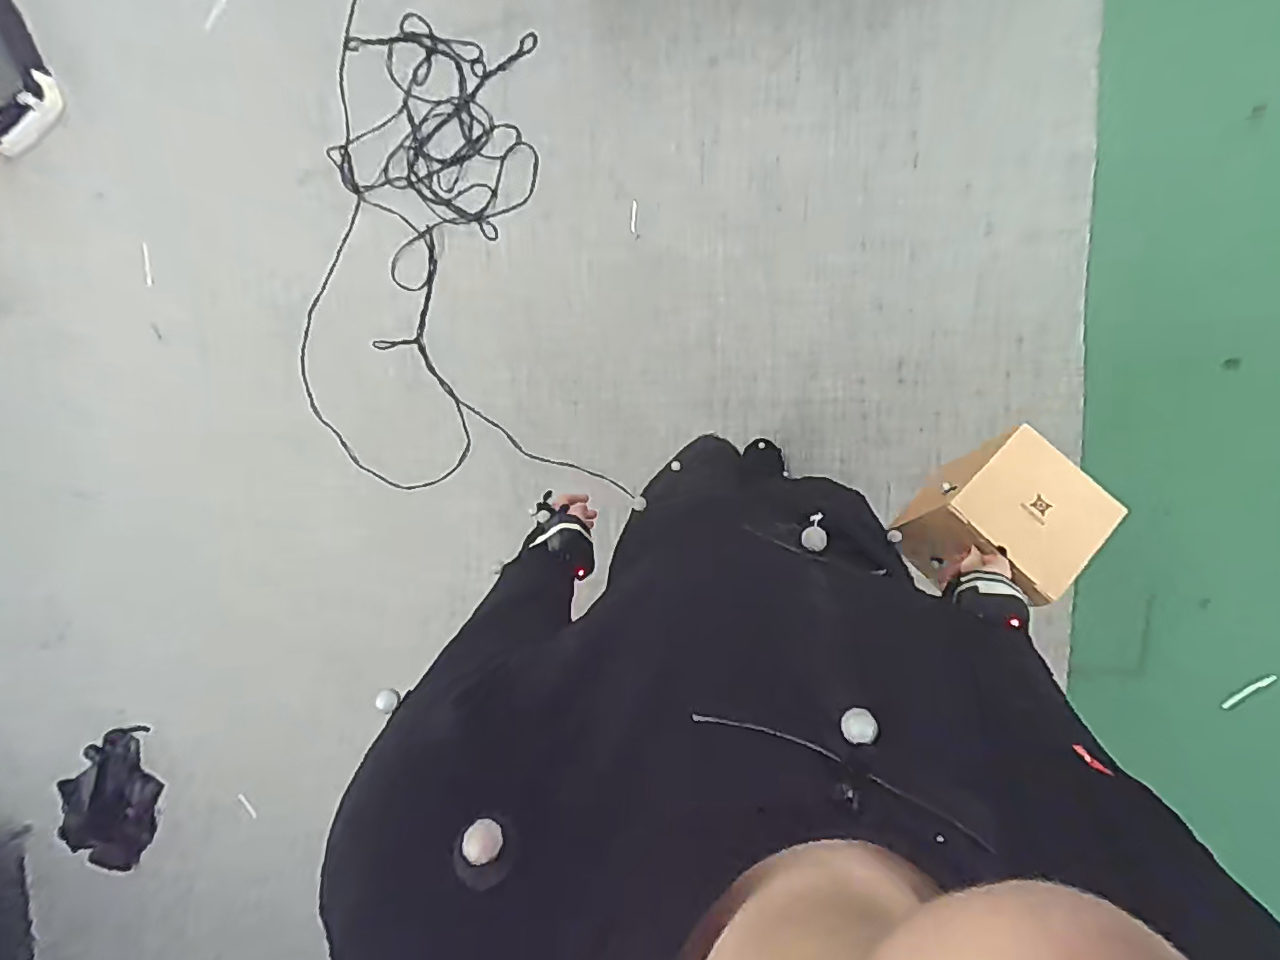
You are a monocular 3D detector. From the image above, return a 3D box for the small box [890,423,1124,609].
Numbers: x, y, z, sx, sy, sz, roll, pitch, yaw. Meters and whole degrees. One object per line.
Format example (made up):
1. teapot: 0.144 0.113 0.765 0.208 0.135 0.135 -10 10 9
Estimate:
1. small box: 0.491 0.057 0.750 0.179 0.176 0.168 -40 79 -15
